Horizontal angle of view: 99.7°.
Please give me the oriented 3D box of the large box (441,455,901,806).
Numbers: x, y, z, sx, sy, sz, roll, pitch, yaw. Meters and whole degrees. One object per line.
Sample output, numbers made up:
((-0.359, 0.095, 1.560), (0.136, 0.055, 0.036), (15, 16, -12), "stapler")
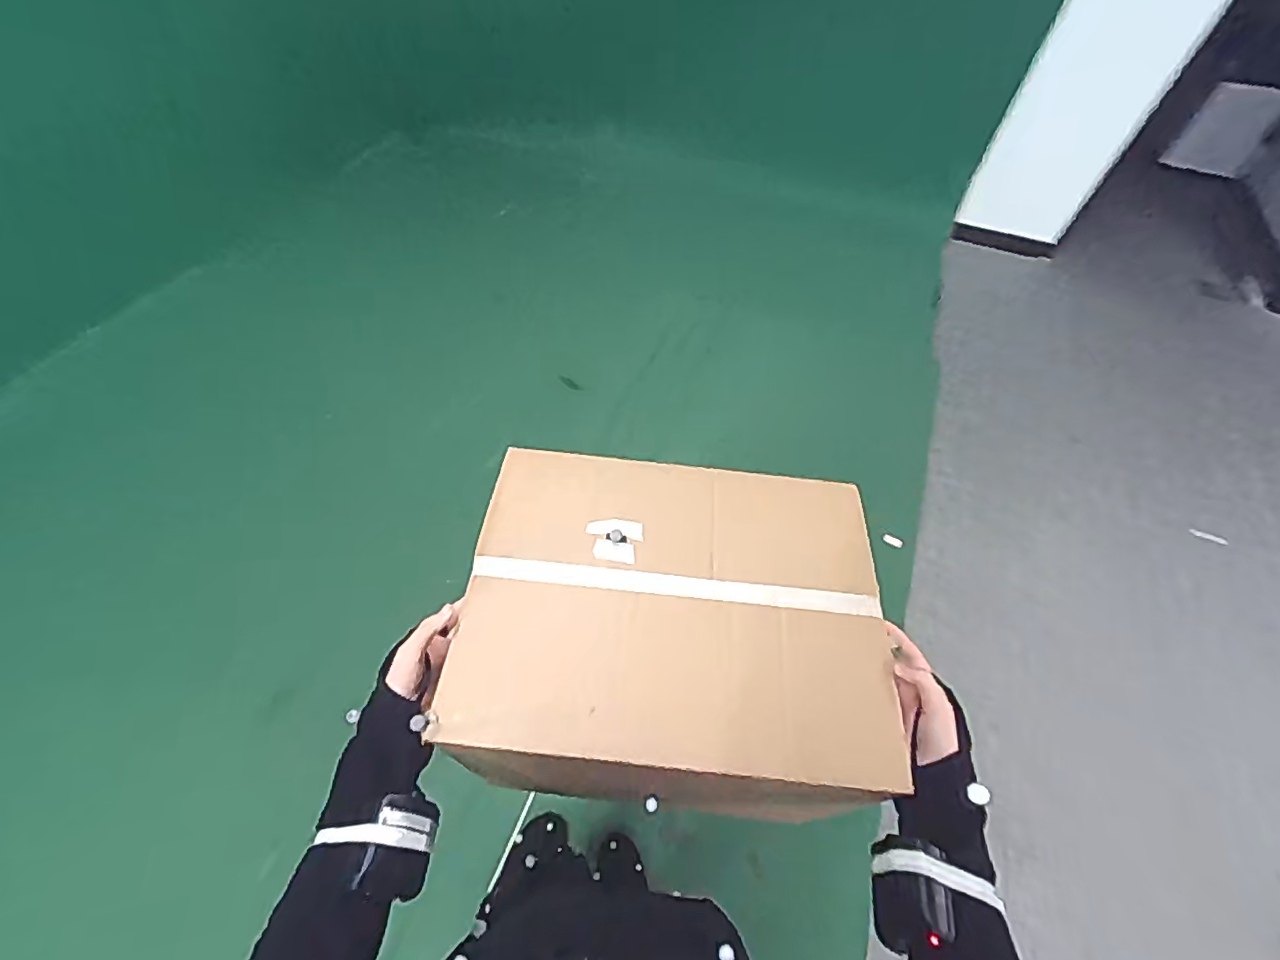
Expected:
((0.035, 0.198, 0.667), (0.408, 0.320, 0.320), (6, 54, 2), "large box")
